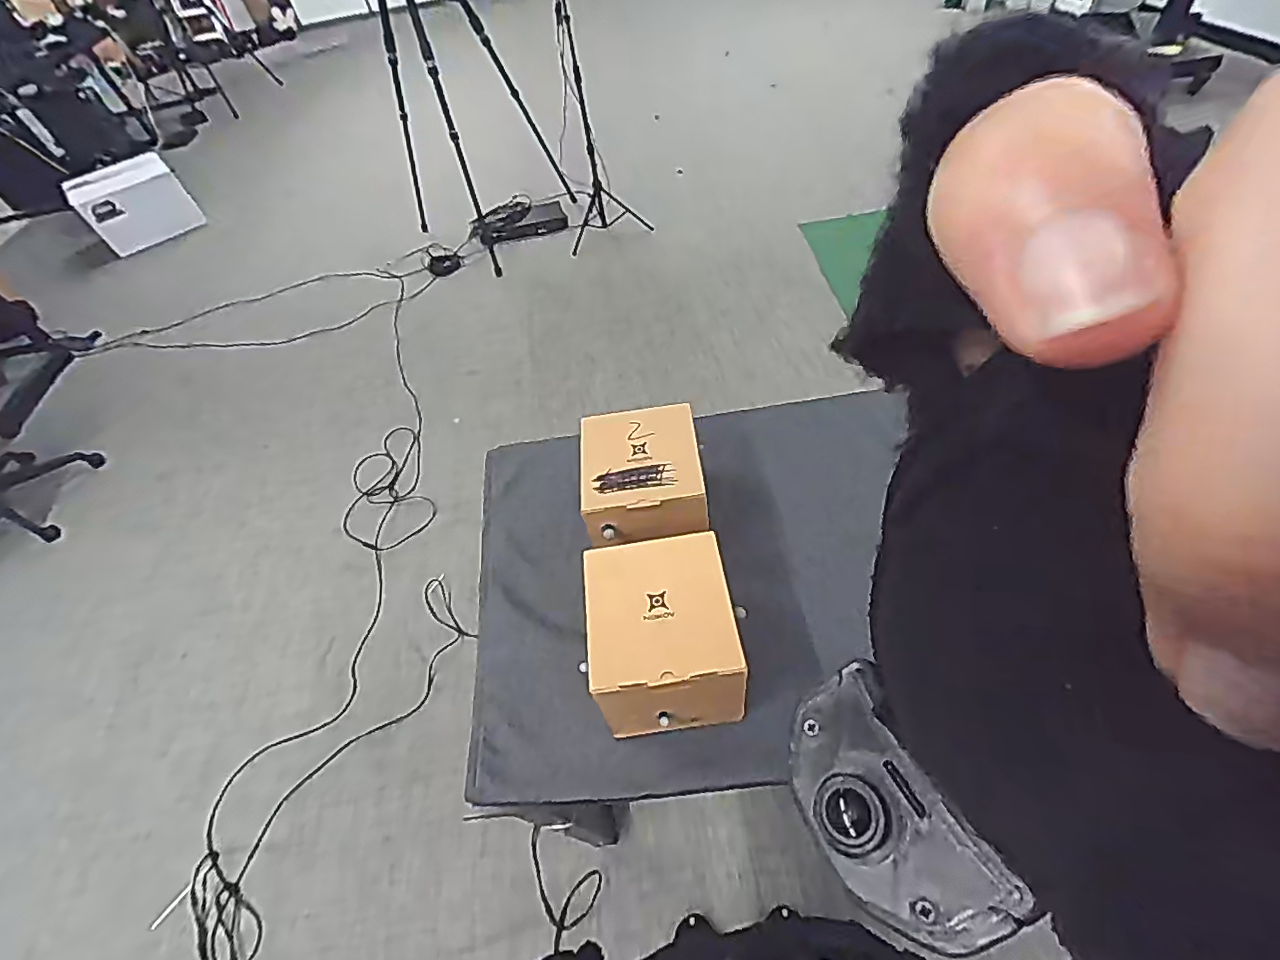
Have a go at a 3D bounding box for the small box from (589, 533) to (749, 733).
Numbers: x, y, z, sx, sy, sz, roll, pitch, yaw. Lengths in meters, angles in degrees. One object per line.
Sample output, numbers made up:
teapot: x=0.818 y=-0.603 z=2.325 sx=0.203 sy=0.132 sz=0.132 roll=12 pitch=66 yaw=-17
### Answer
small box: x=0.033 y=0.193 z=0.677 sx=0.168 sy=0.176 sz=0.179 roll=-9 pitch=50 yaw=1
